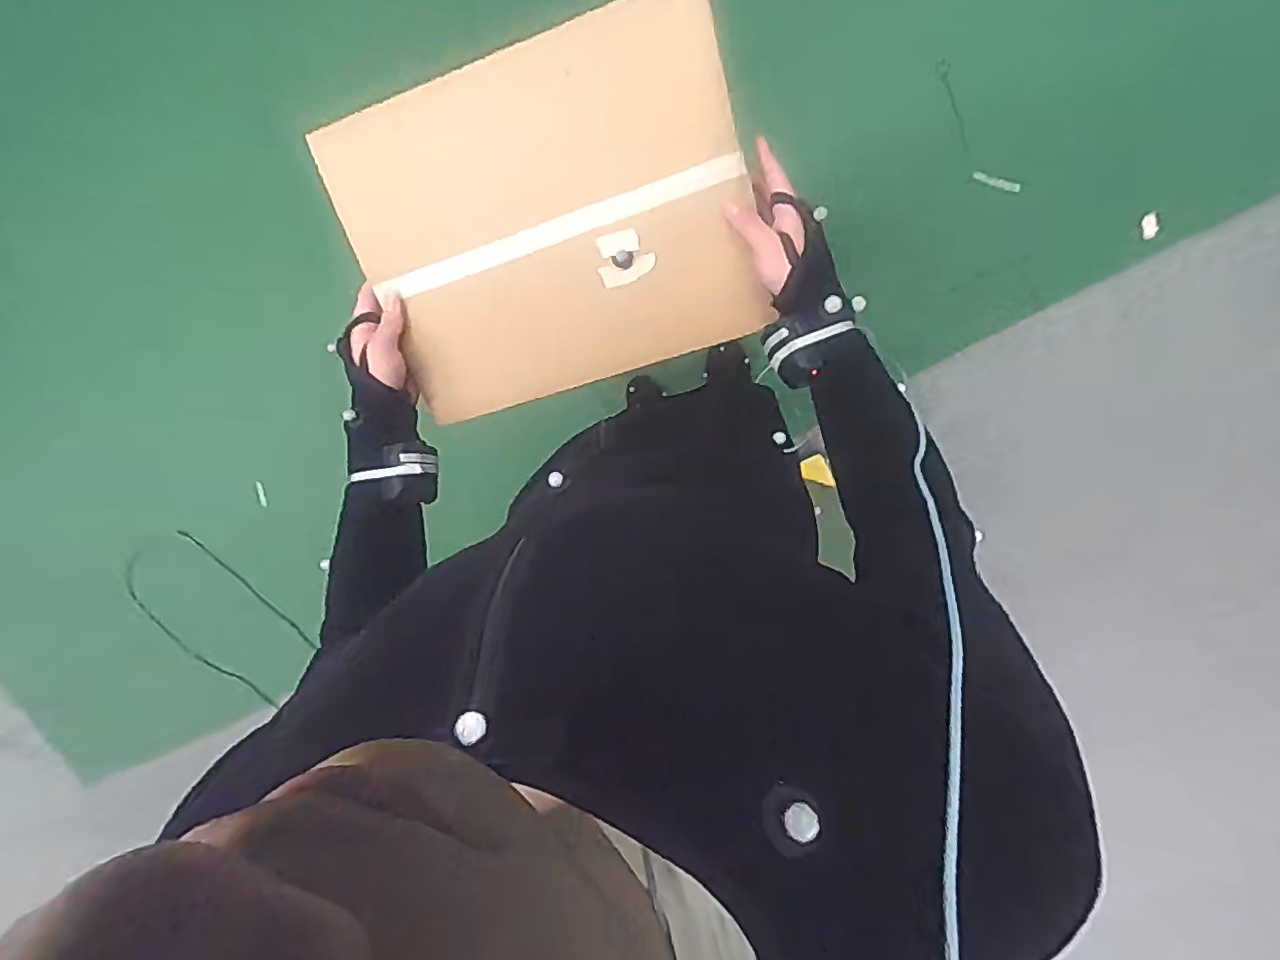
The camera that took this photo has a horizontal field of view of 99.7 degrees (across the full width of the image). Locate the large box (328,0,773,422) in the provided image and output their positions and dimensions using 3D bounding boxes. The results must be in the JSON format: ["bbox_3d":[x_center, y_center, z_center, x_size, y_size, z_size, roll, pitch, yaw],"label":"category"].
[{"bbox_3d":[-0.080,-0.307,0.703,0.408,0.320,0.320,-15,110,9],"label":"large box"}]
